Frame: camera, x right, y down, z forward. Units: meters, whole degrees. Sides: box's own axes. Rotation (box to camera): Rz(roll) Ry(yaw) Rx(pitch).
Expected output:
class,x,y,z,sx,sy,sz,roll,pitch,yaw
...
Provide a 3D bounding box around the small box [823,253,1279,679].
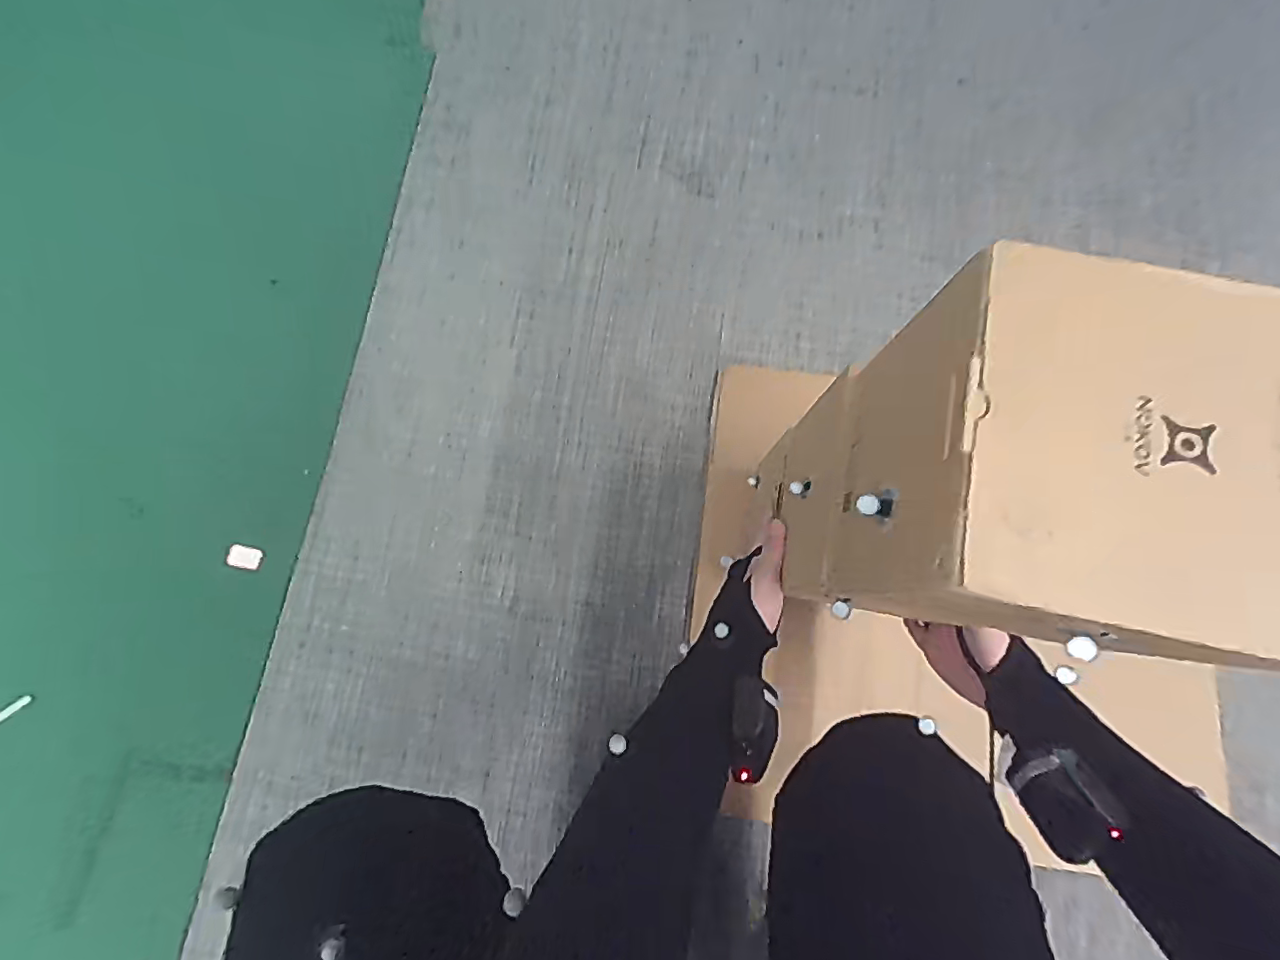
class,x,y,z,sx,sy,sz,roll,pitch,yaw
small box,0.221,0.005,0.309,0.179,0.176,0.168,12,79,3

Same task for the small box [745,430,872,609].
class,x,y,z,sx,sy,sz,roll,pitch,yaw
small box,0.227,0.055,0.631,0.179,0.176,0.168,10,78,3
